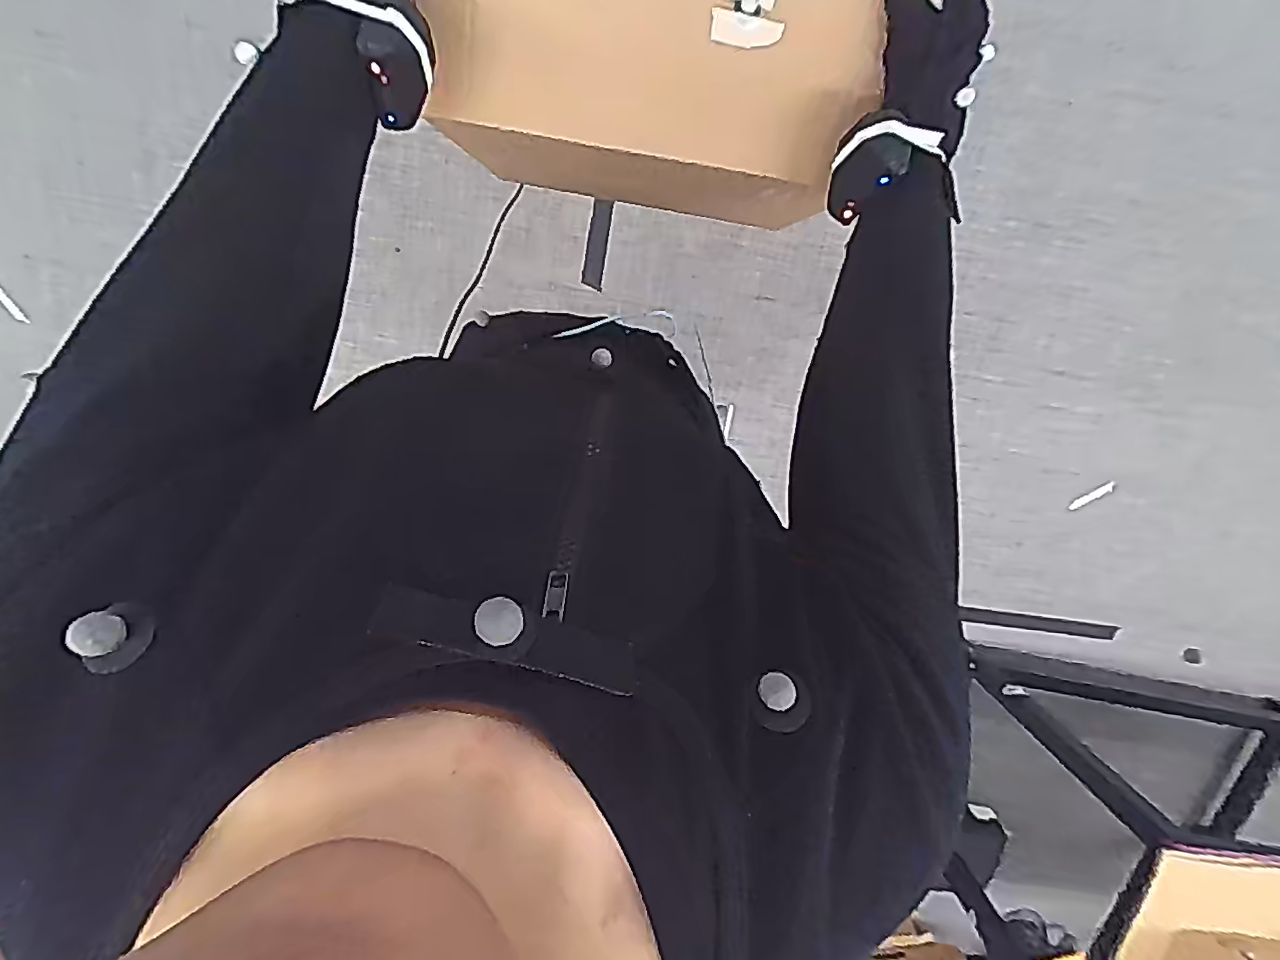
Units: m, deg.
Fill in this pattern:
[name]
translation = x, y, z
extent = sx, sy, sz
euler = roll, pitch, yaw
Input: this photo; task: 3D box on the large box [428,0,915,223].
[large box]
translation = 0.031, -0.484, 0.570
extent = 0.408, 0.320, 0.320
euler = 9, 110, -4
